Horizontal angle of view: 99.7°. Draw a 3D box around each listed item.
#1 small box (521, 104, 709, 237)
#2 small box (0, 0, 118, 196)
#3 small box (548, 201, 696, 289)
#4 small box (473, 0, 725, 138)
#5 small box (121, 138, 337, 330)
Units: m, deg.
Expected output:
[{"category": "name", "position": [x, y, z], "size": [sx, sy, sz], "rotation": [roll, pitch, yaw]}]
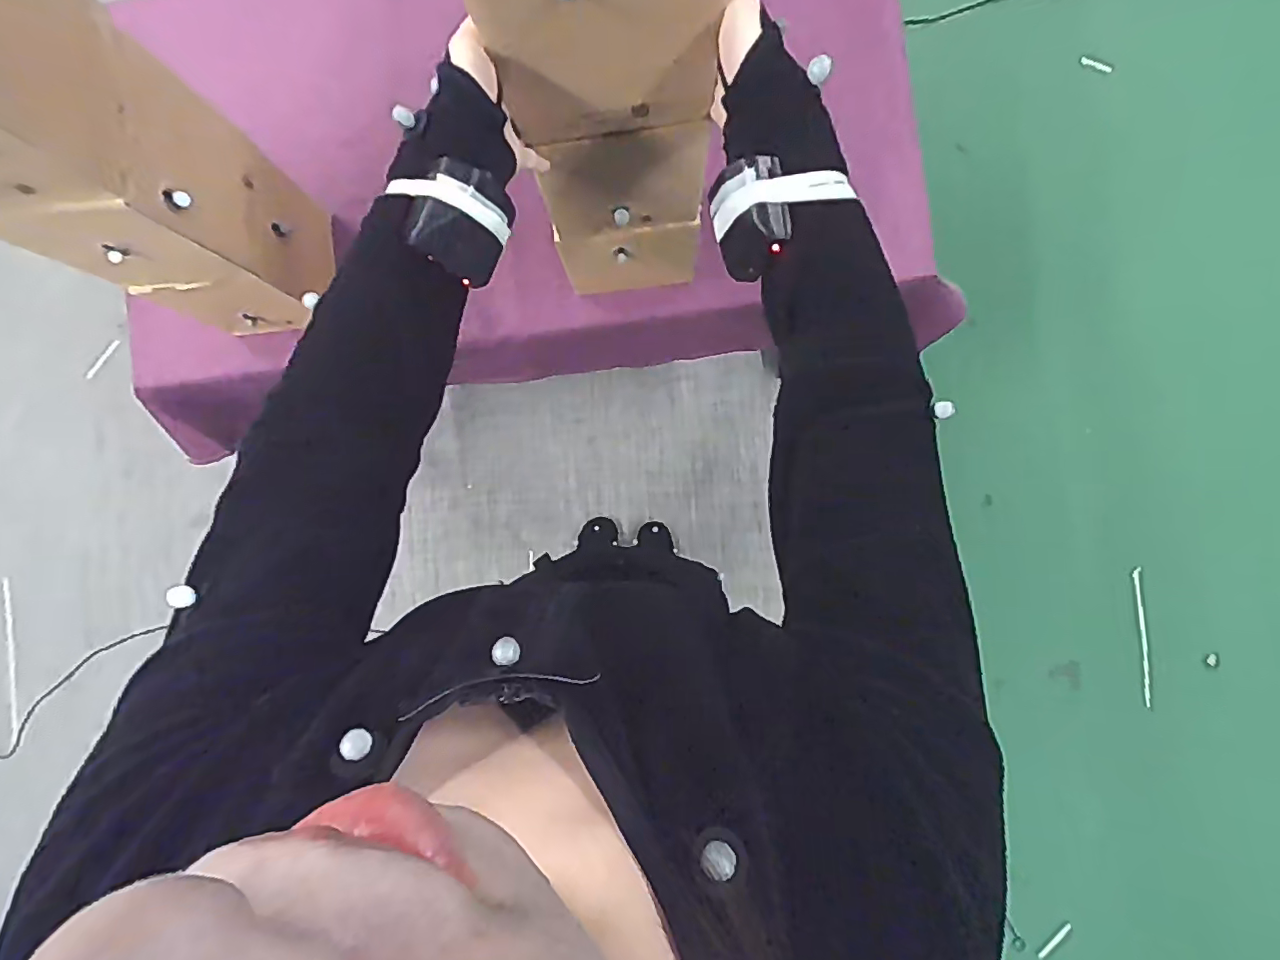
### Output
[{"category": "small box", "position": [-0.029, -0.381, 0.552], "size": [0.168, 0.176, 0.179], "rotation": [-8, 88, 2]}, {"category": "small box", "position": [-0.548, -0.336, 0.406], "size": [0.168, 0.176, 0.179], "rotation": [-4, 88, 1]}, {"category": "small box", "position": [-0.022, -0.367, 0.716], "size": [0.179, 0.176, 0.168], "rotation": [-5, 88, 2]}, {"category": "small box", "position": [-0.034, -0.385, 0.378], "size": [0.168, 0.176, 0.179], "rotation": [-7, 89, 2]}, {"category": "small box", "position": [-0.541, -0.320, 0.733], "size": [0.168, 0.176, 0.179], "rotation": [-6, 89, 1]}]
